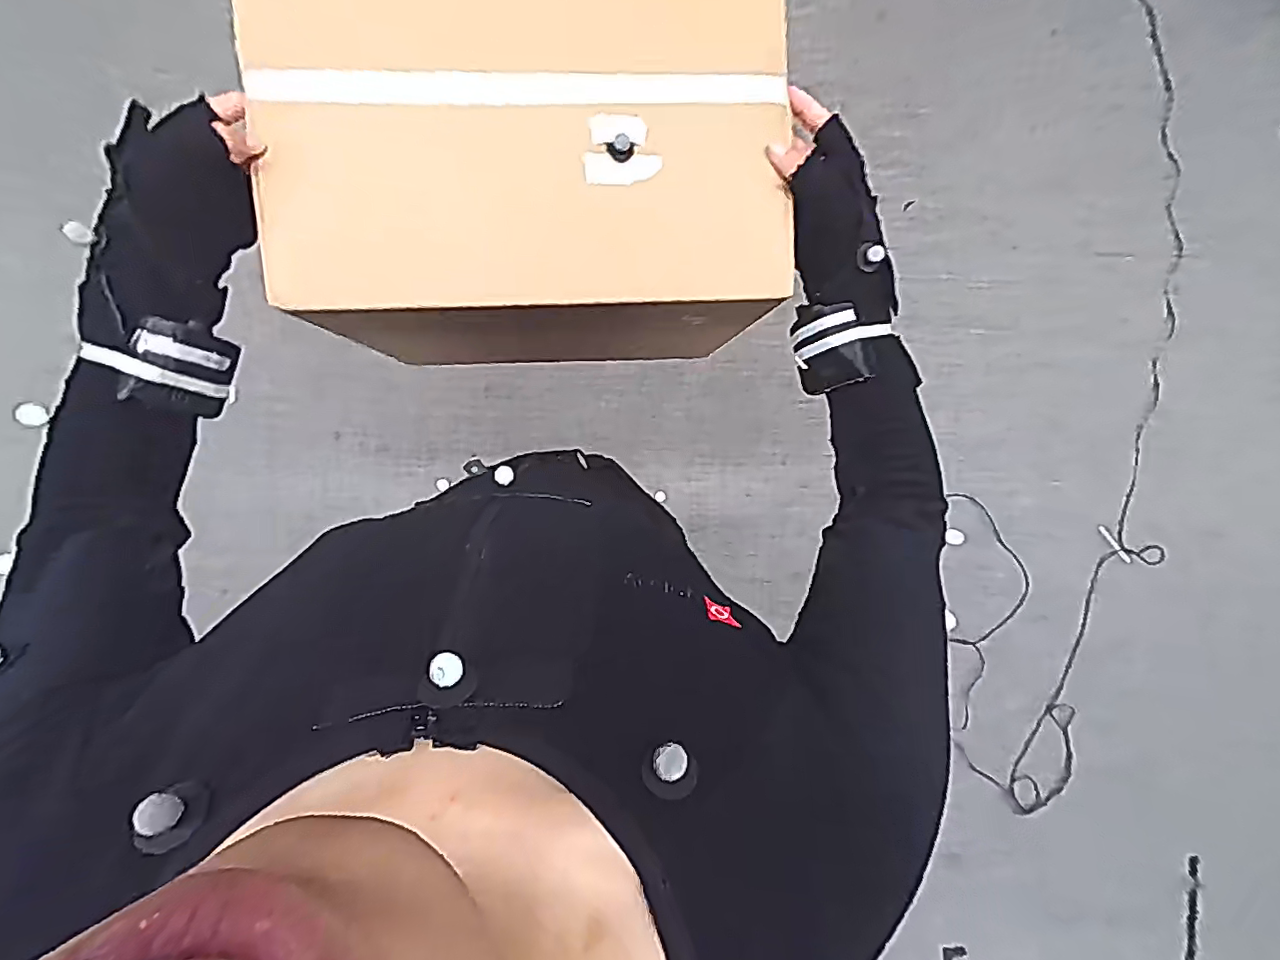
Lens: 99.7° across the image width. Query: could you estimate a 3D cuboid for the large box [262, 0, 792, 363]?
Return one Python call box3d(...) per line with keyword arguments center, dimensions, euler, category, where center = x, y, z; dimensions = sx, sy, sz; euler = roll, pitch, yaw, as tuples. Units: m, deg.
box3d(center=(-0.096, -0.310, 0.571), dimensions=(0.408, 0.320, 0.320), euler=(-4, 95, -6), category="large box")
